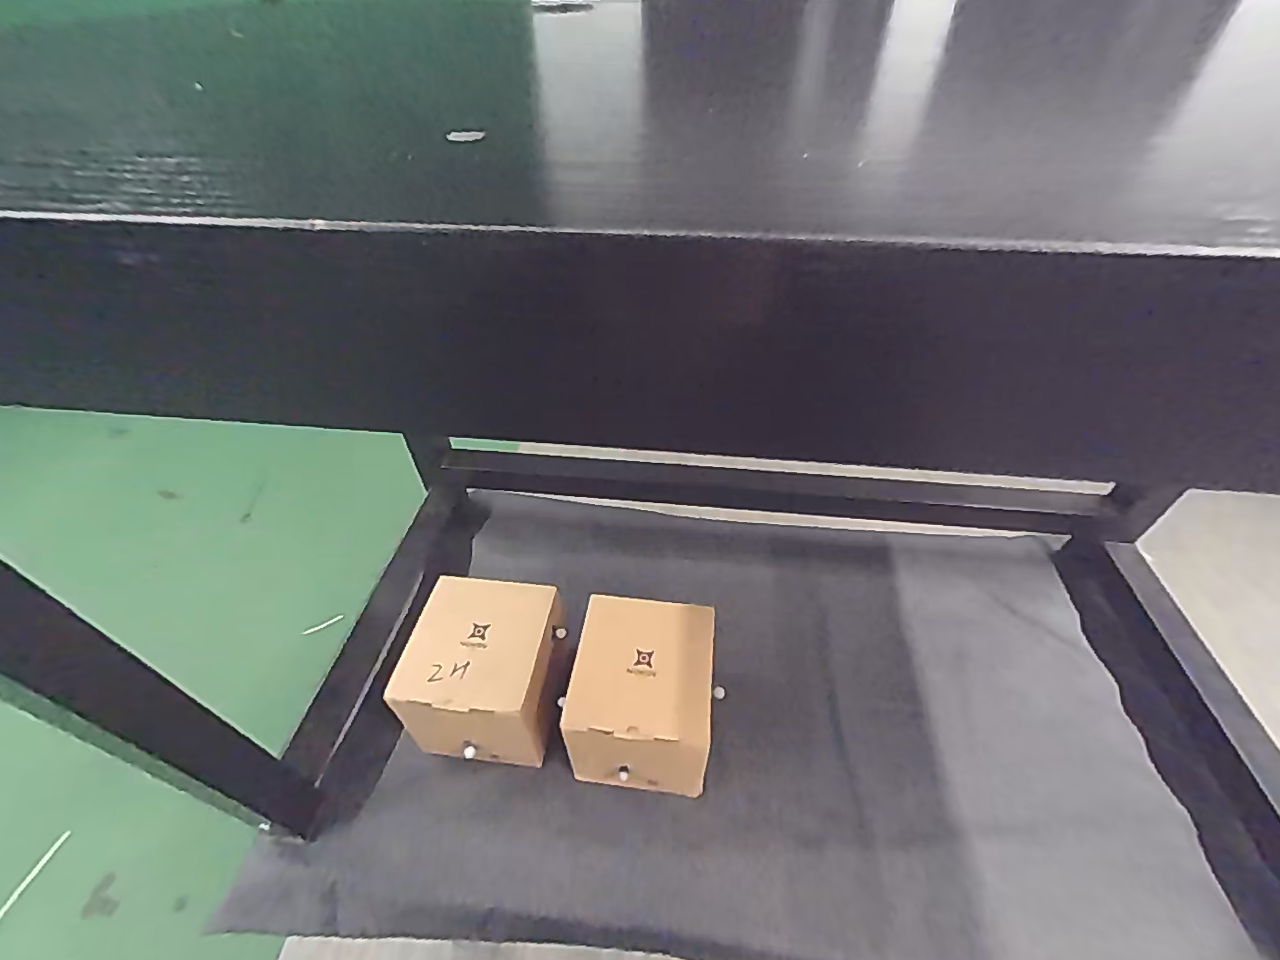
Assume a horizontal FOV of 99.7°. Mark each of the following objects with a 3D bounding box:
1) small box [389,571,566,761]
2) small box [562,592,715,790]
[{"bbox_3d":[-0.201,0.249,0.730,0.168,0.176,0.179,5,44,6],"label":"small box"},{"bbox_3d":[0.004,0.273,0.706,0.168,0.176,0.179,5,45,6],"label":"small box"}]
